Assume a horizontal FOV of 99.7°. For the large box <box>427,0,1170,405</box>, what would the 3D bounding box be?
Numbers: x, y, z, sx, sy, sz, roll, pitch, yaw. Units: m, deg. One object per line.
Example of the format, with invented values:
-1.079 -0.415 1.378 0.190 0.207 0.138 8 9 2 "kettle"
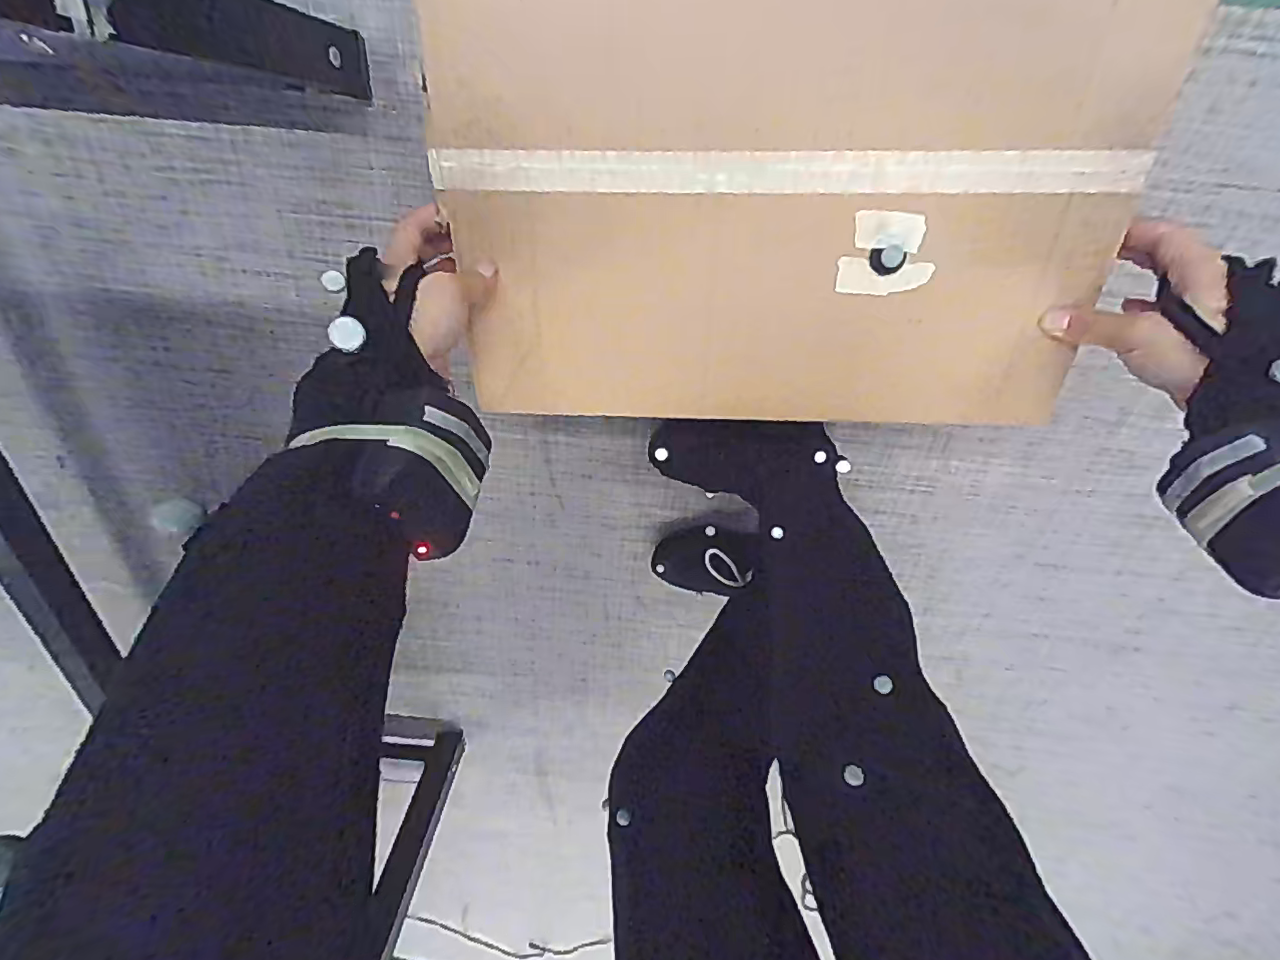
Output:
0.085 -0.262 0.458 0.408 0.320 0.320 0 120 1 "large box"
